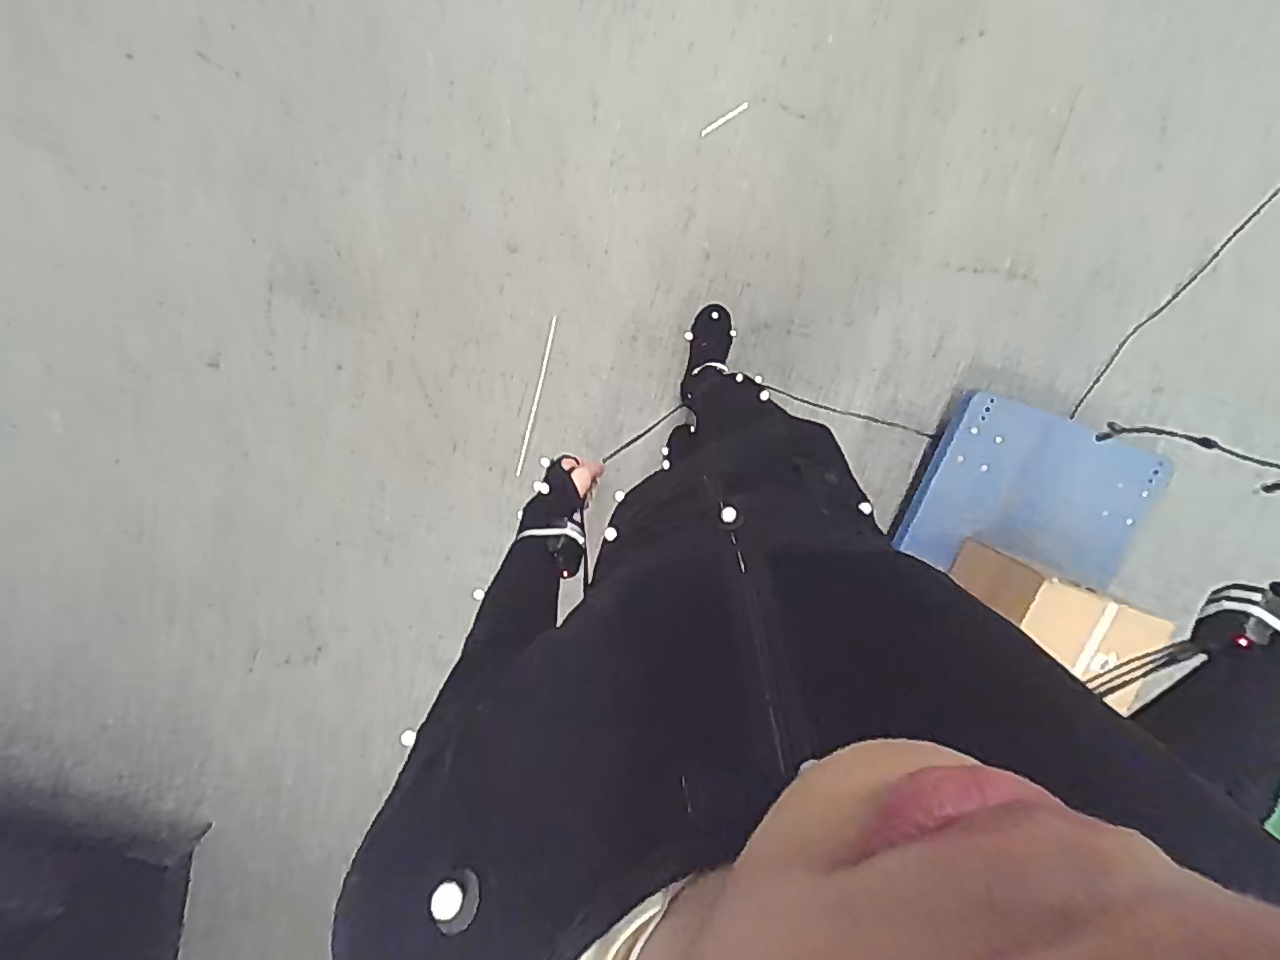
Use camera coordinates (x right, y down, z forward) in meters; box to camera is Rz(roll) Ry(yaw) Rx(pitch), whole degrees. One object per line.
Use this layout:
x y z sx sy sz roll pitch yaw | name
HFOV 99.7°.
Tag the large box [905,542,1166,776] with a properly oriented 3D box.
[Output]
0.936 0.421 1.341 0.320 0.320 0.408 20 100 -2 | large box
